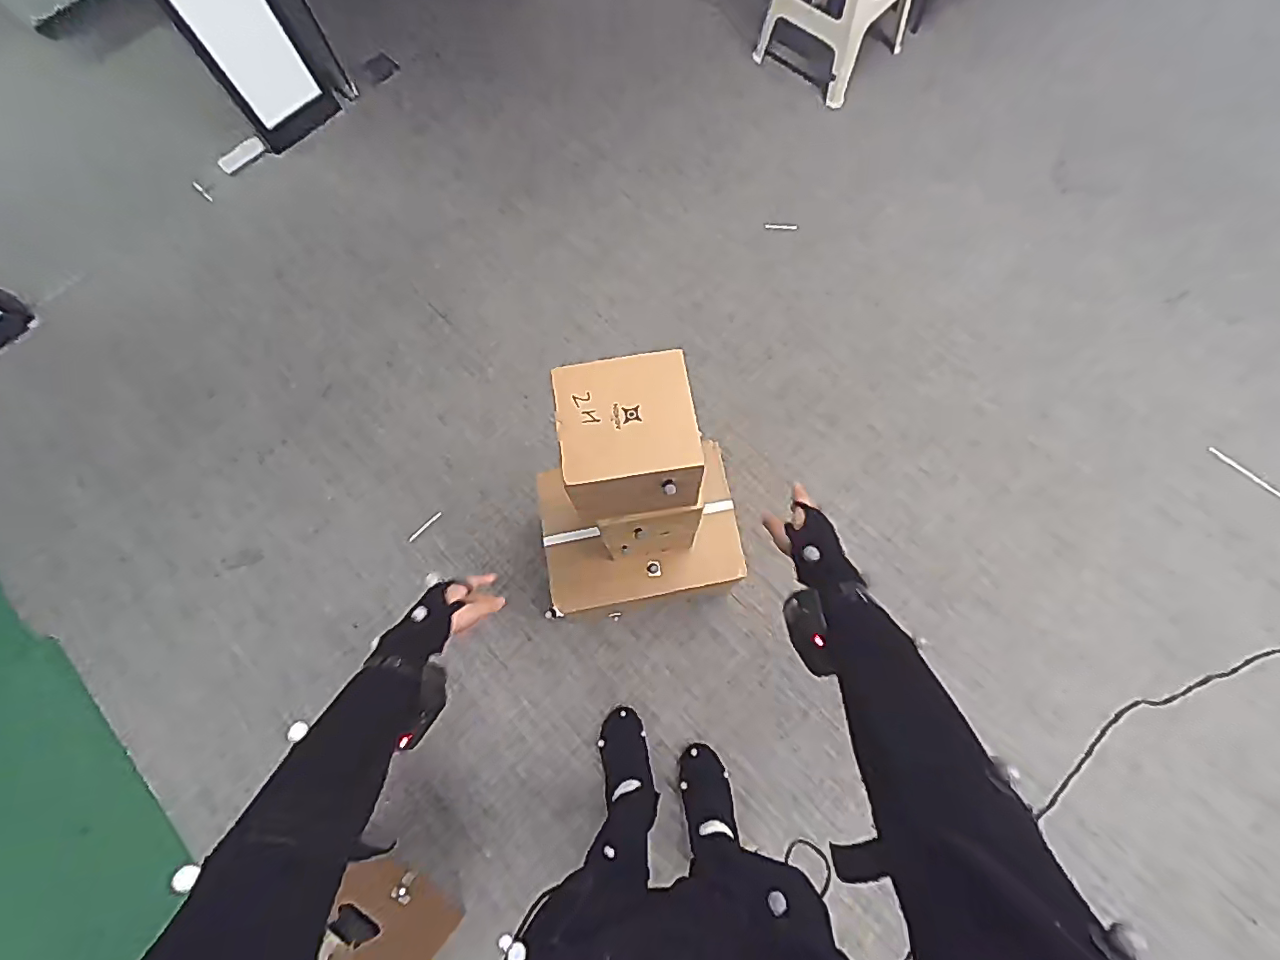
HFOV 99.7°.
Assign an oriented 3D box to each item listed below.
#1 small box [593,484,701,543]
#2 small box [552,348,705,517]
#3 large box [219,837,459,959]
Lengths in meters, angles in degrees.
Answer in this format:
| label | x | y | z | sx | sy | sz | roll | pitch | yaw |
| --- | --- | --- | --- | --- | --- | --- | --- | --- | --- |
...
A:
| label | x | y | z | sx | sy | sz | roll | pitch | yaw |
| --- | --- | --- | --- | --- | --- | --- | --- | --- | --- |
| small box | 0.003 | 0.000 | 0.902 | 0.168 | 0.176 | 0.179 | -10 | 70 | -1 |
| small box | -0.016 | -0.057 | 0.748 | 0.179 | 0.176 | 0.168 | -9 | 70 | 0 |
| large box | -0.626 | 1.006 | 1.030 | 0.320 | 0.320 | 0.408 | 29 | 77 | 12 |
